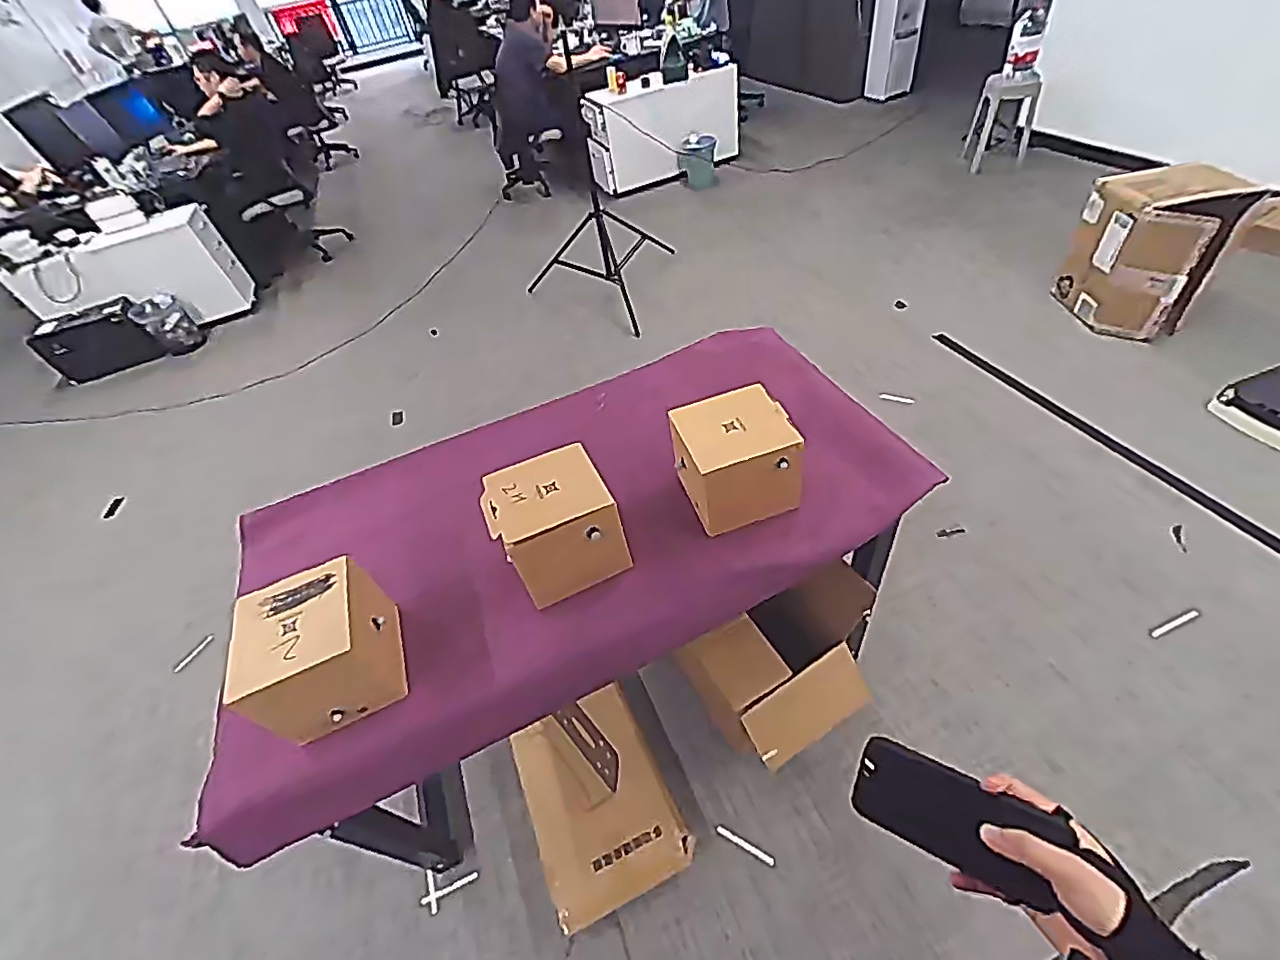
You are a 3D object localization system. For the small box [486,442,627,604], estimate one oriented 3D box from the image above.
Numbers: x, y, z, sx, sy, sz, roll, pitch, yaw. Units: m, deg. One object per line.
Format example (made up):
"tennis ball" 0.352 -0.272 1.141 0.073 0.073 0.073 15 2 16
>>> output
"small box" -0.132 0.072 0.900 0.179 0.176 0.168 -24 45 -10

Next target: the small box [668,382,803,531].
"small box" 0.165 -0.037 0.942 0.179 0.176 0.168 -18 47 -6
